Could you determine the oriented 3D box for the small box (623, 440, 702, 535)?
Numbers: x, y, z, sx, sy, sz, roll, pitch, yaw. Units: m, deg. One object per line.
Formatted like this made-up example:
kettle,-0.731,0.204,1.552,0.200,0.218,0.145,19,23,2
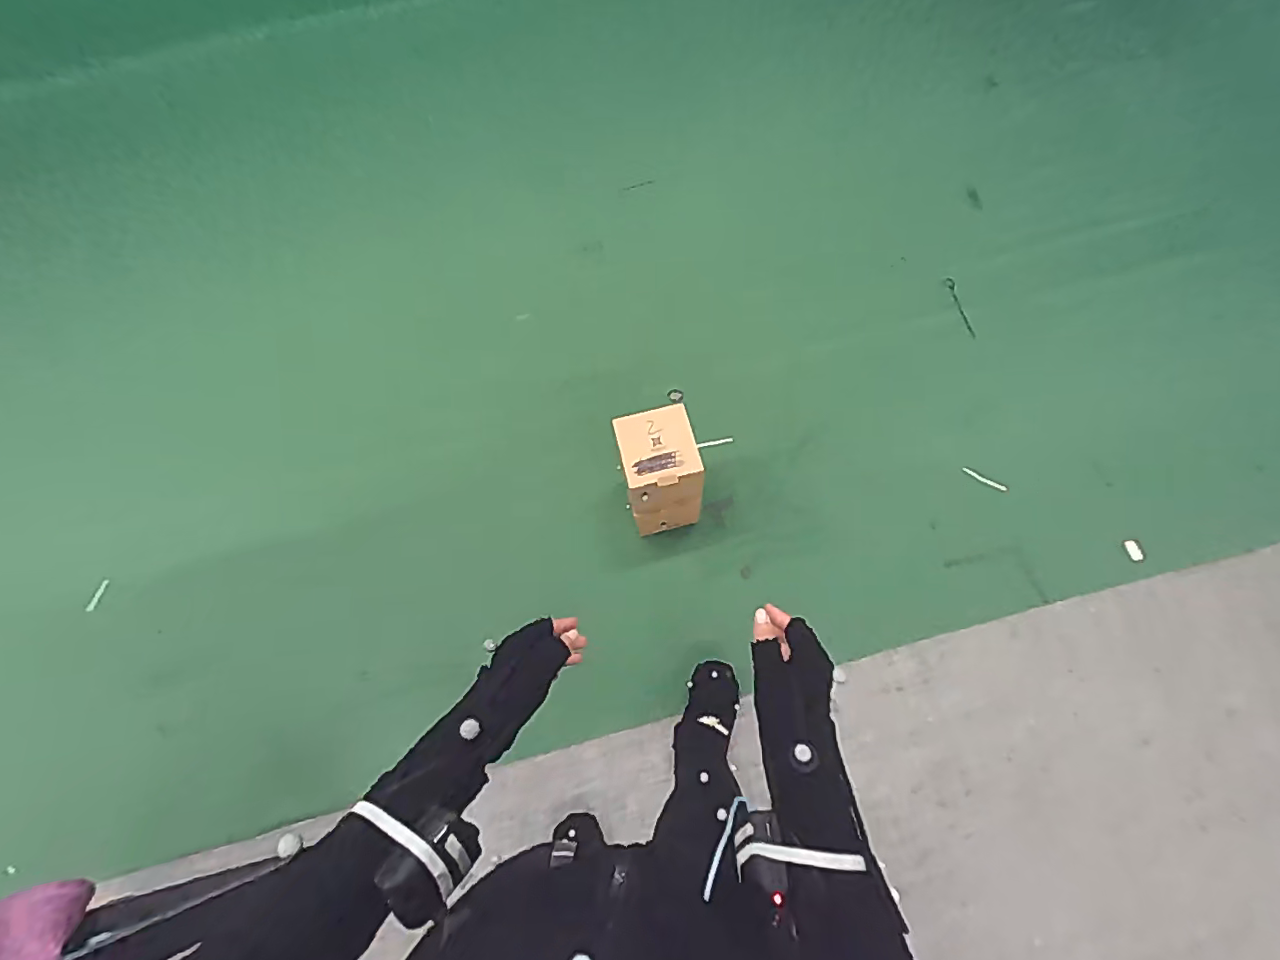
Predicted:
small box,0.056,0.024,1.401,0.168,0.176,0.179,-14,68,-2
